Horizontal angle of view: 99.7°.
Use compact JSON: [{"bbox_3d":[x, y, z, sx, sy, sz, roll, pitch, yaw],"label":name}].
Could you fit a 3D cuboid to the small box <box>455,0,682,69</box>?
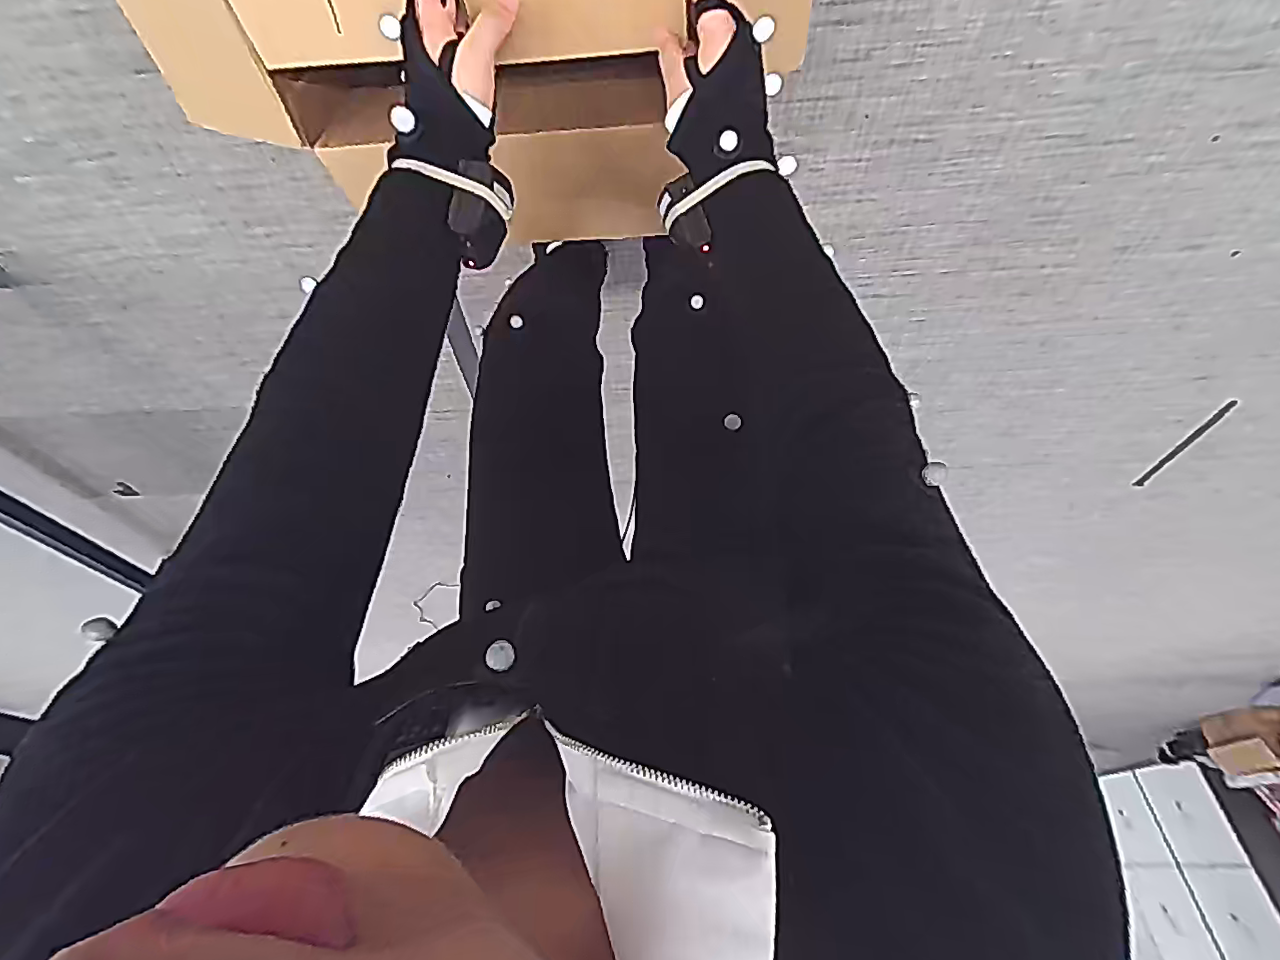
[{"bbox_3d":[-0.056,-0.456,0.417,0.179,0.176,0.168,1,151,6],"label":"small box"}]
